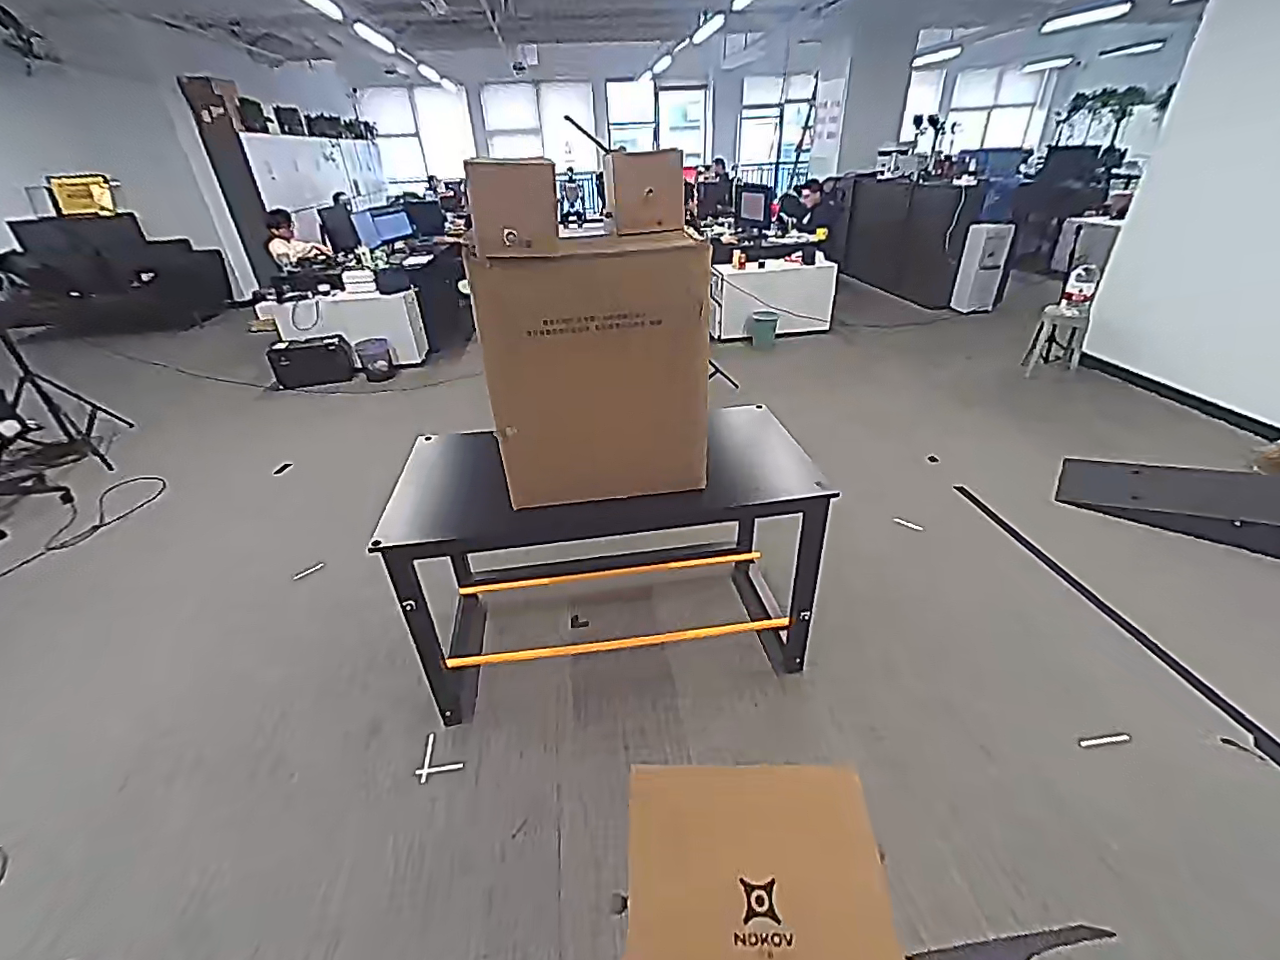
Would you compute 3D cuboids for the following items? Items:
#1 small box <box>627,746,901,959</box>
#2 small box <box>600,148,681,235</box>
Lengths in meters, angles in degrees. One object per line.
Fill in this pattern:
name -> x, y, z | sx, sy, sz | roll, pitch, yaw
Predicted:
small box -> 0.077, 0.319, 0.401 | 0.168, 0.176, 0.179 | -1, 45, 2
small box -> 0.001, -0.697, 1.312 | 0.168, 0.176, 0.179 | -9, 31, -7
